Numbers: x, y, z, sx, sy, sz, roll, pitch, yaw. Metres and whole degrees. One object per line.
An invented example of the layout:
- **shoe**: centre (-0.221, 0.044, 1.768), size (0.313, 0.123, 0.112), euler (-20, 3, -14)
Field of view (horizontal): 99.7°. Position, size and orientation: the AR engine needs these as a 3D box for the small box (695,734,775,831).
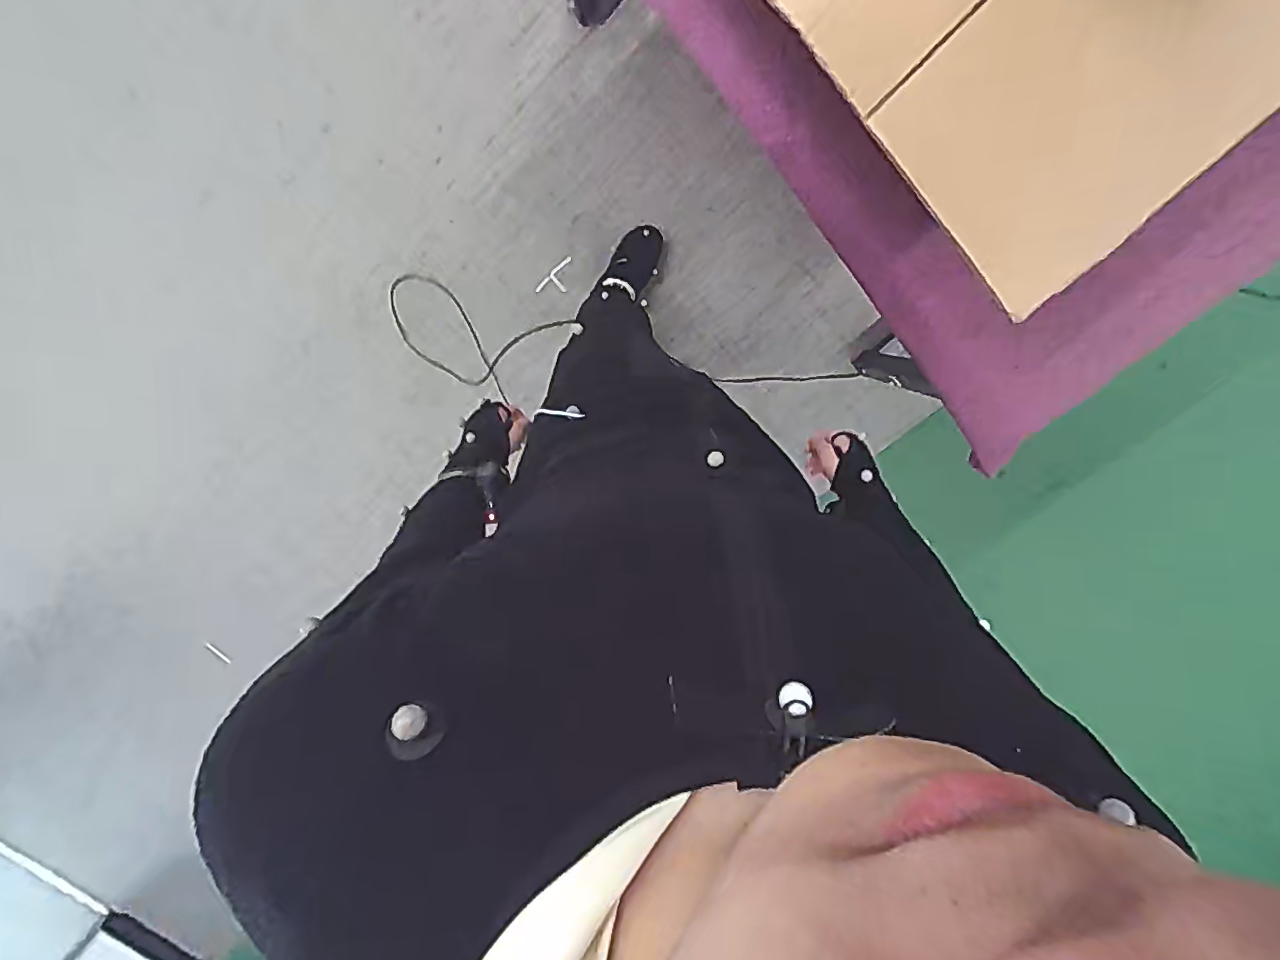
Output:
- **small box**: centre (0.282, 0.909, 1.647), size (0.168, 0.176, 0.179), euler (-36, 103, 13)
